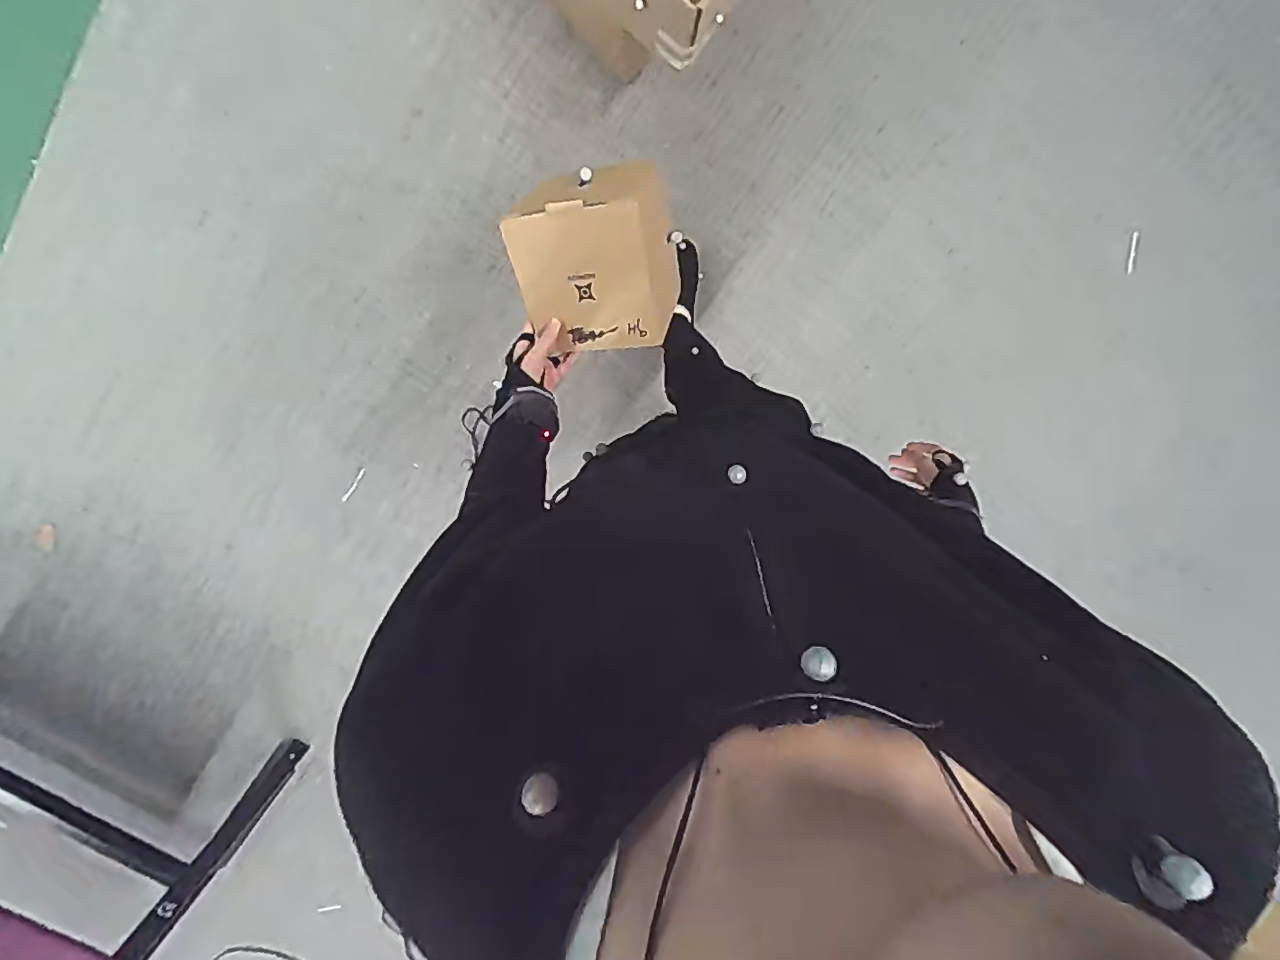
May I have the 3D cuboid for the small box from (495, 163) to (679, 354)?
[{"bbox_3d":[-0.053,-0.285,0.690,0.168,0.176,0.179,-1,133,18],"label":"small box"}]
